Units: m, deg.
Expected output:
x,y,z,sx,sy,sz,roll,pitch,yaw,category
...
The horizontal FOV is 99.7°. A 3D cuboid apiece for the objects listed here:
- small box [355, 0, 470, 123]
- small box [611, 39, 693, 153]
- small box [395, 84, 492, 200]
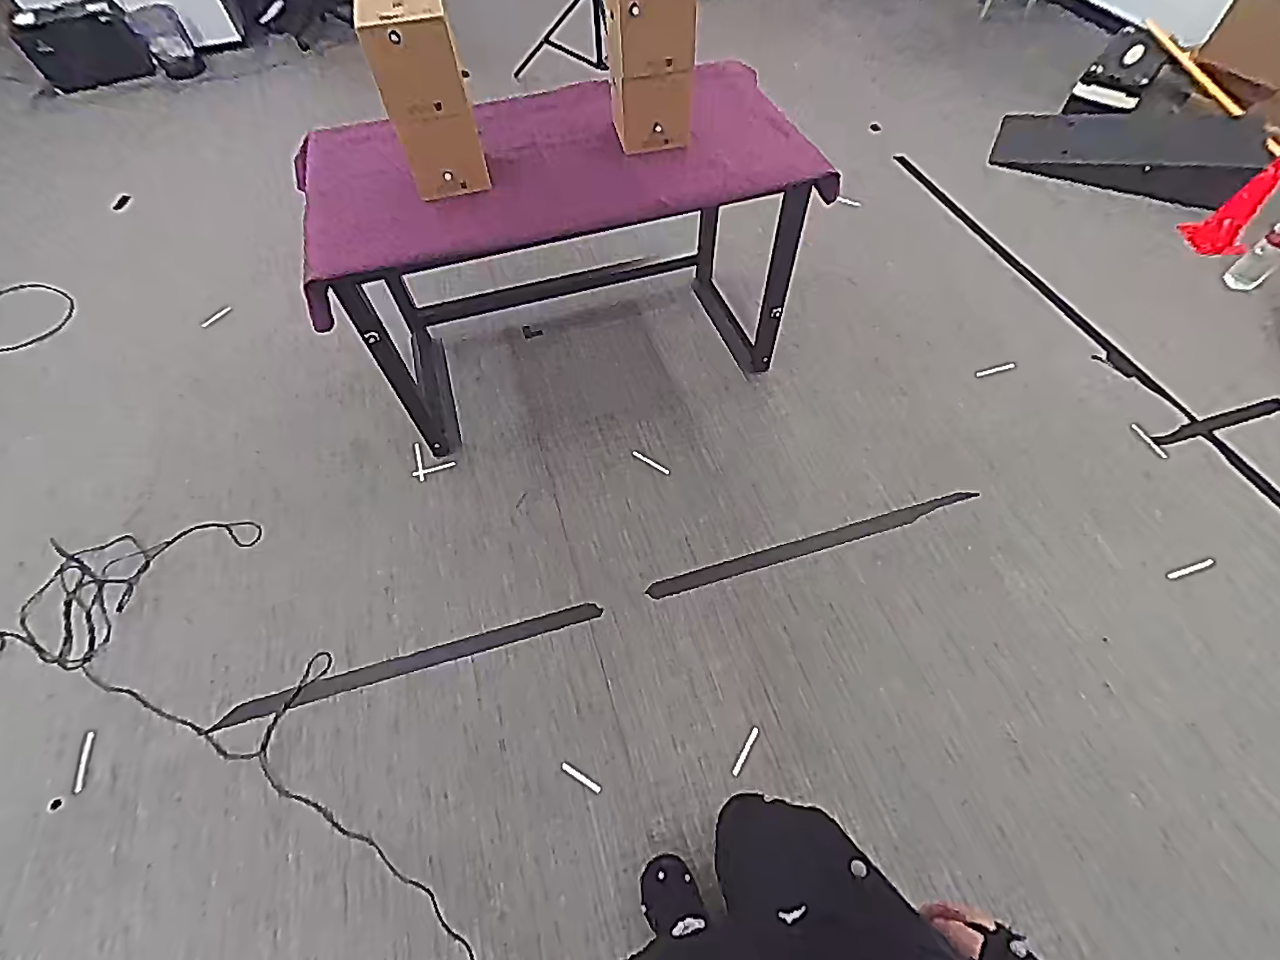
x,y,z,sx,sy,sz,roll,pitch,yaw,category
-0.455,-0.863,1.100,0.168,0.176,0.179,-14,58,-6,small box
0.027,-0.934,1.320,0.168,0.176,0.179,-11,59,-4,small box
-0.450,-0.778,1.240,0.168,0.176,0.179,-14,60,-7,small box
